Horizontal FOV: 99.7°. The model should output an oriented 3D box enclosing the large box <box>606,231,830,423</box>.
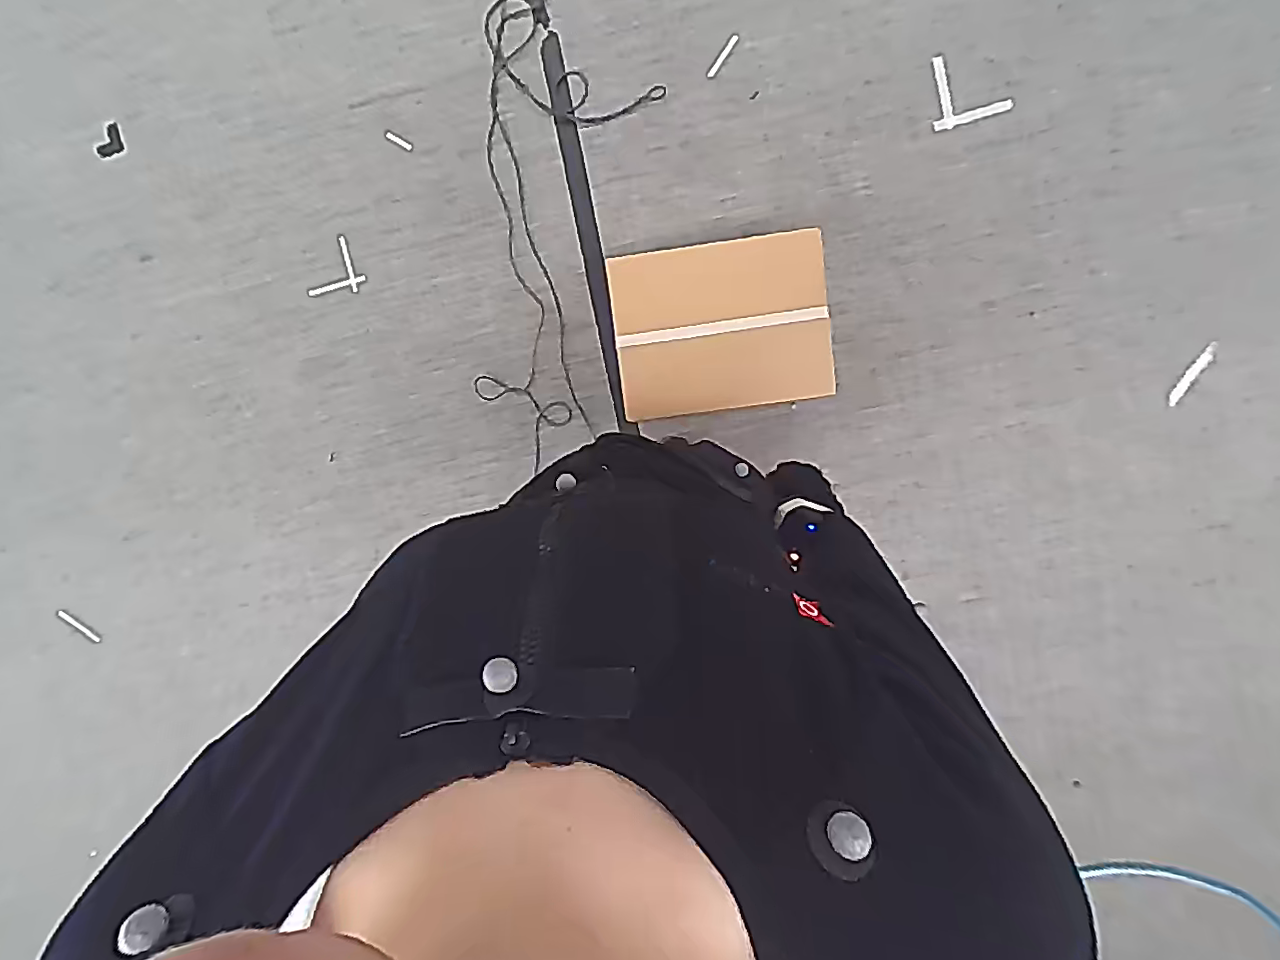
[{"bbox_3d":[0.158,-0.306,1.183,0.408,0.320,0.320,-7,95,4],"label":"large box"}]
